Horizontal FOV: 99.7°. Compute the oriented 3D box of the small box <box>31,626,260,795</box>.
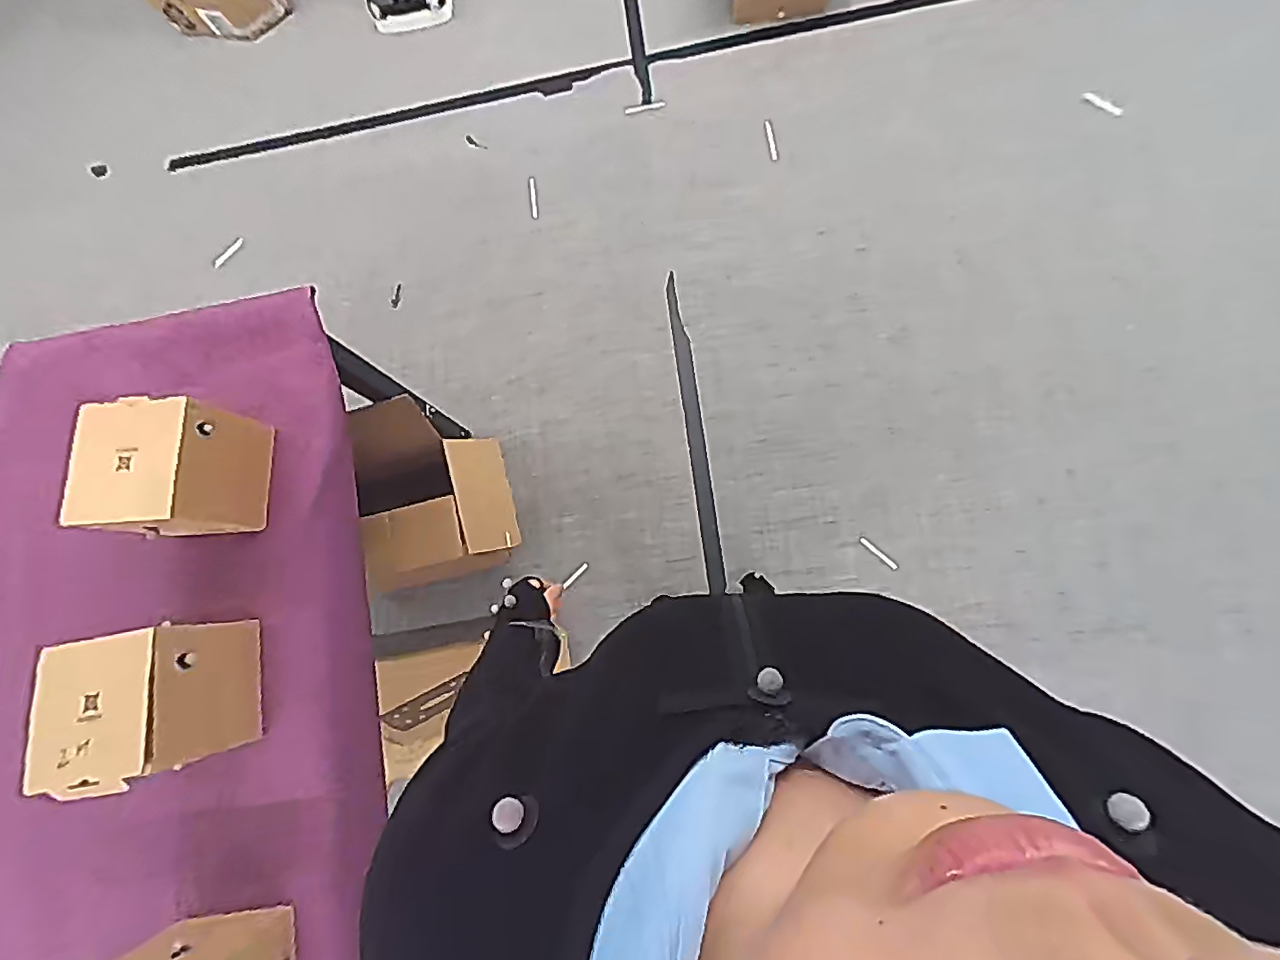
[{"bbox_3d":[-0.661,0.302,0.745,0.168,0.176,0.179,-12,78,6],"label":"small box"}]

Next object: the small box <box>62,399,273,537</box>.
[{"bbox_3d":[-0.693,-0.008,0.814,0.168,0.176,0.179,-4,78,5],"label":"small box"}]
